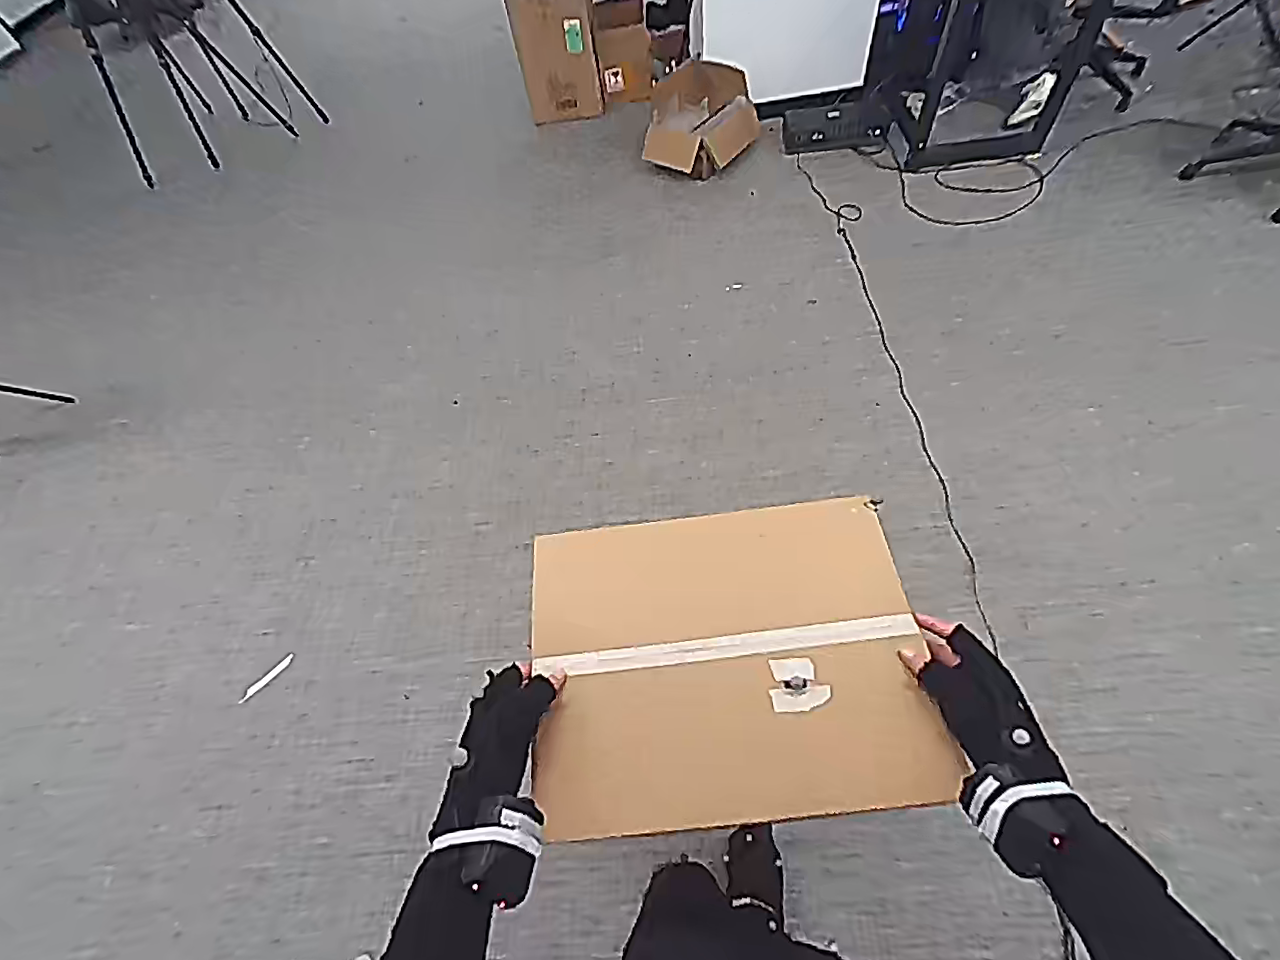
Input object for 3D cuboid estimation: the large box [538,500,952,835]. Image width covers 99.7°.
[{"bbox_3d":[0.097,0.258,0.716,0.408,0.320,0.320,-7,59,1],"label":"large box"}]
